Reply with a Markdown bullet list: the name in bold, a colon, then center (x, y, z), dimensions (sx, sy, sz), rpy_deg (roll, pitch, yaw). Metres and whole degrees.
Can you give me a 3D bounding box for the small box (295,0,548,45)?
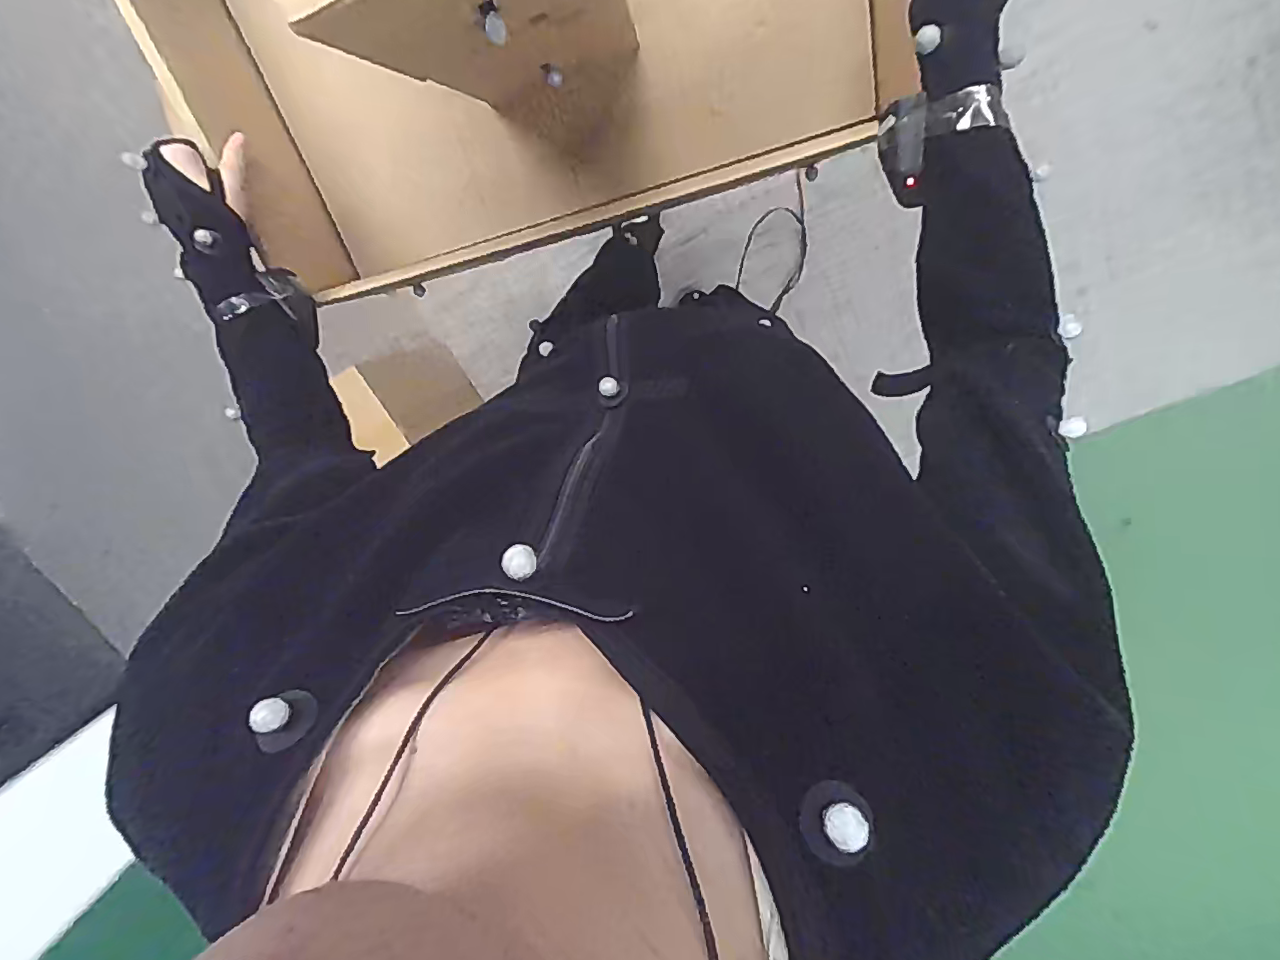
- **small box**: center (-0.114, -0.363, 0.281), dimensions (0.168, 0.176, 0.179), rpy_deg (-15, 117, 11)
